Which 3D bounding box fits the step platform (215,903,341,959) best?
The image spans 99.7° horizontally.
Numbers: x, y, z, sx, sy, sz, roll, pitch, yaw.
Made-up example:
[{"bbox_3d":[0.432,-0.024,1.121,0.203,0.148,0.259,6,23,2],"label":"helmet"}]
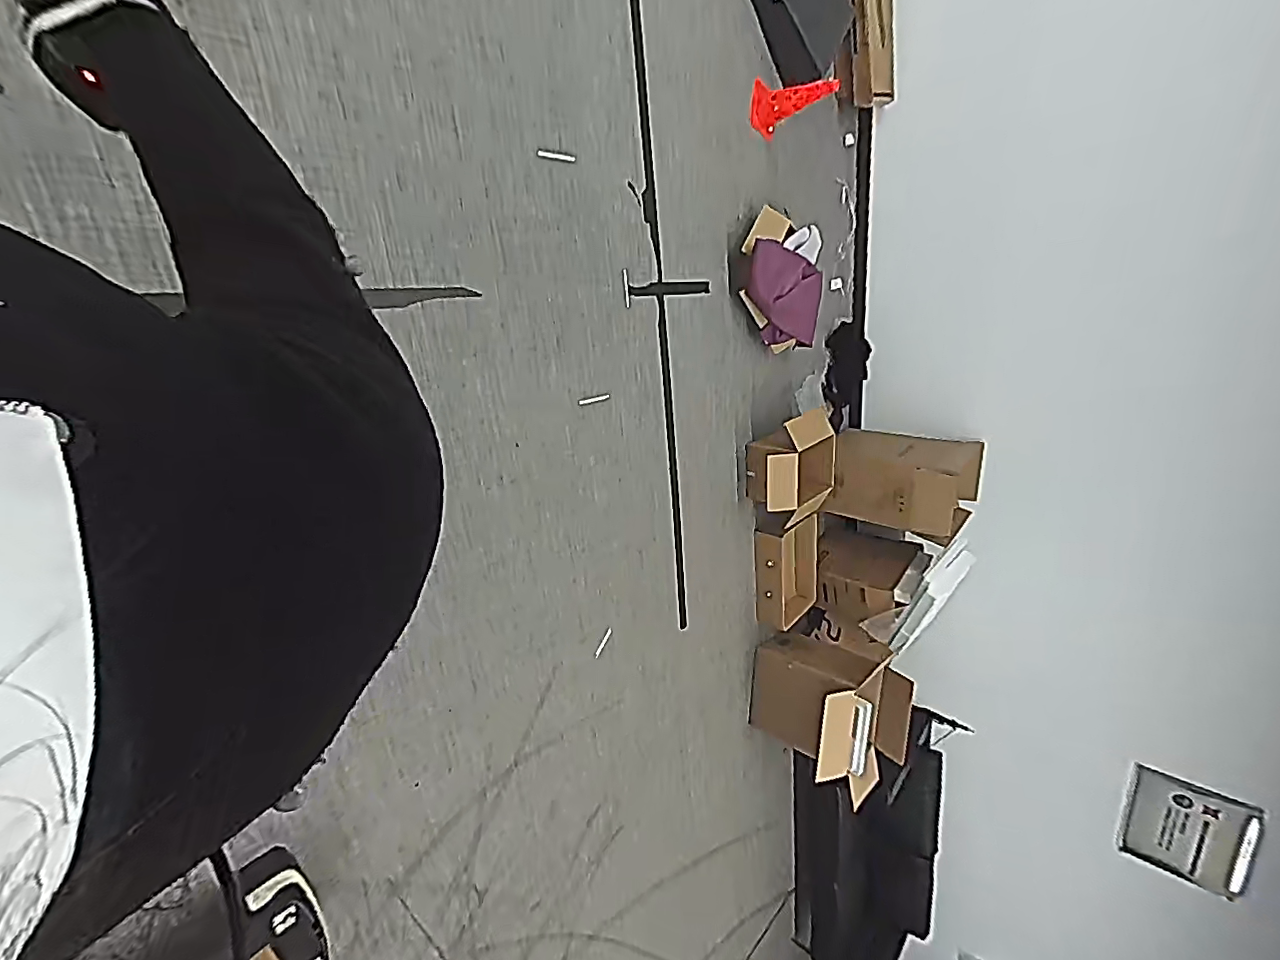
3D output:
[{"bbox_3d":[-0.951,1.228,1.056,0.684,0.204,0.286,-25,117,-41],"label":"step platform"}]
